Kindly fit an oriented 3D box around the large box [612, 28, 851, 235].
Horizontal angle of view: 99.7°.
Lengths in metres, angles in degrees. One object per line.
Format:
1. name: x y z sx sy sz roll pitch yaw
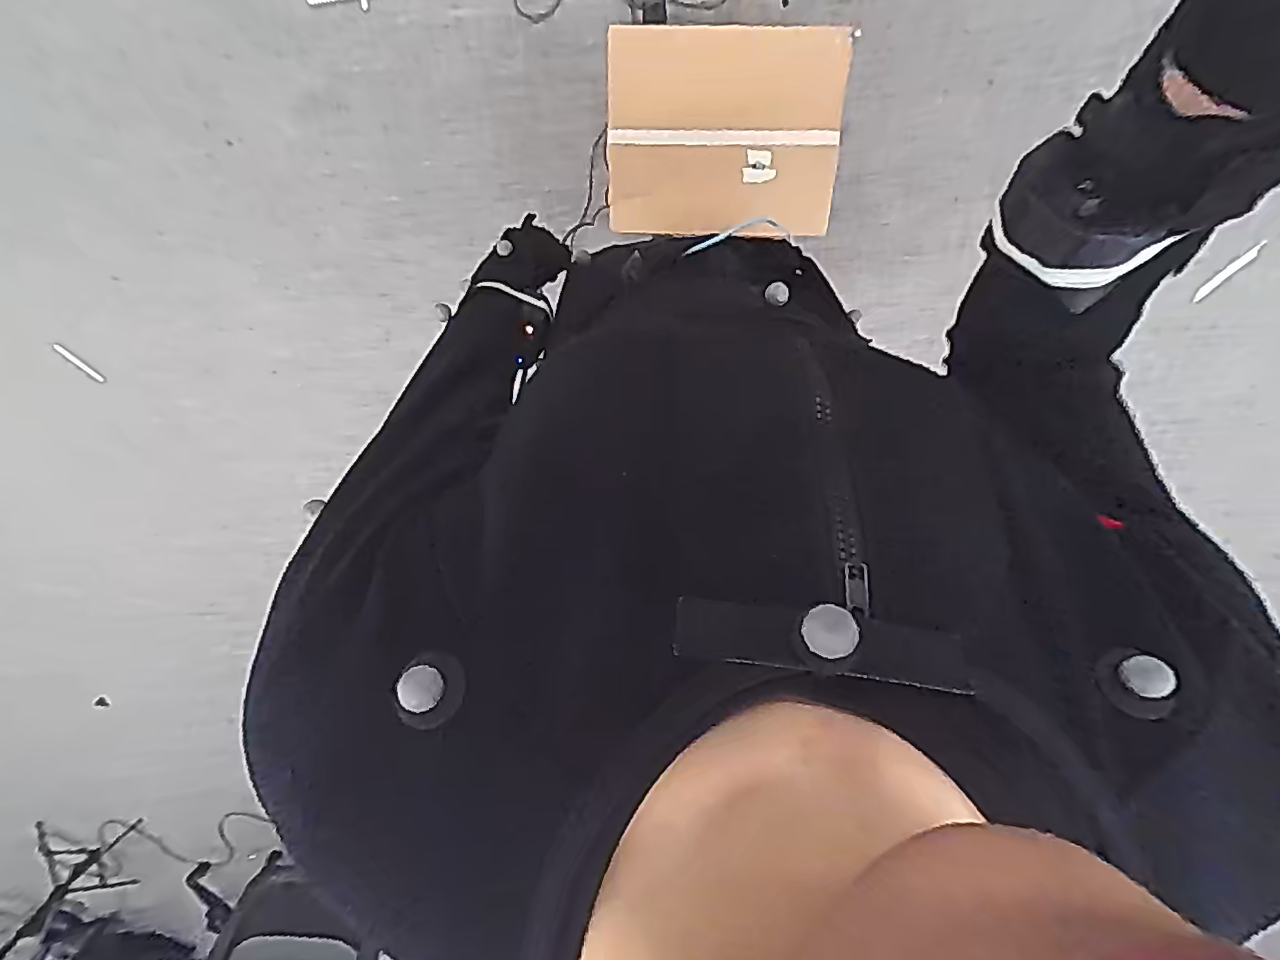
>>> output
1. large box: 0.153 -0.669 1.095 0.408 0.320 0.320 2 115 1
